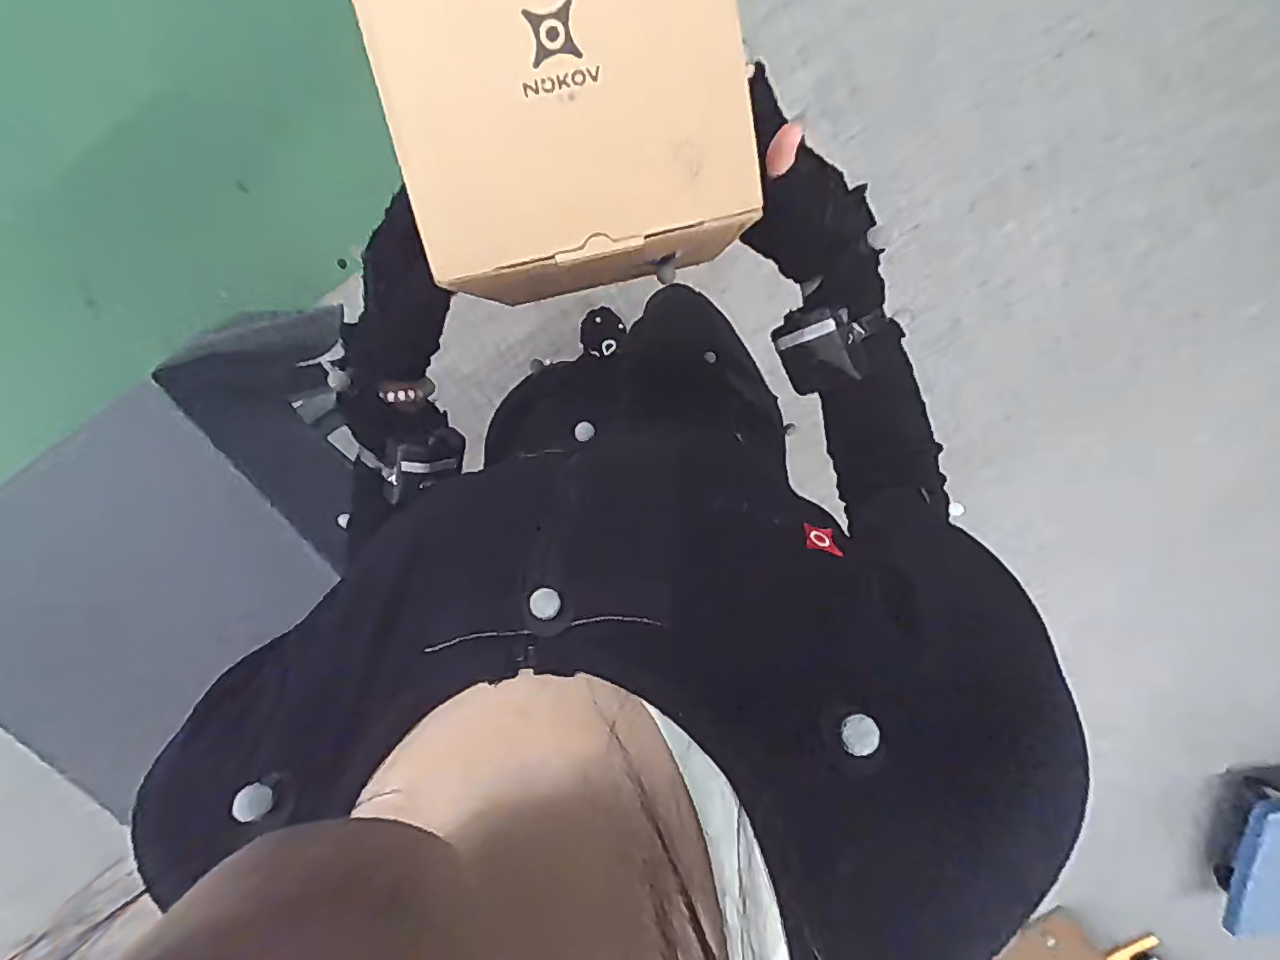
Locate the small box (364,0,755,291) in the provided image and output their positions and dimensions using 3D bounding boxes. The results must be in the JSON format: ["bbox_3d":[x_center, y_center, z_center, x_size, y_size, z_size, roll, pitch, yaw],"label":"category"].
[{"bbox_3d":[-0.038,-0.219,0.327,0.168,0.176,0.179,-12,105,2],"label":"small box"}]
